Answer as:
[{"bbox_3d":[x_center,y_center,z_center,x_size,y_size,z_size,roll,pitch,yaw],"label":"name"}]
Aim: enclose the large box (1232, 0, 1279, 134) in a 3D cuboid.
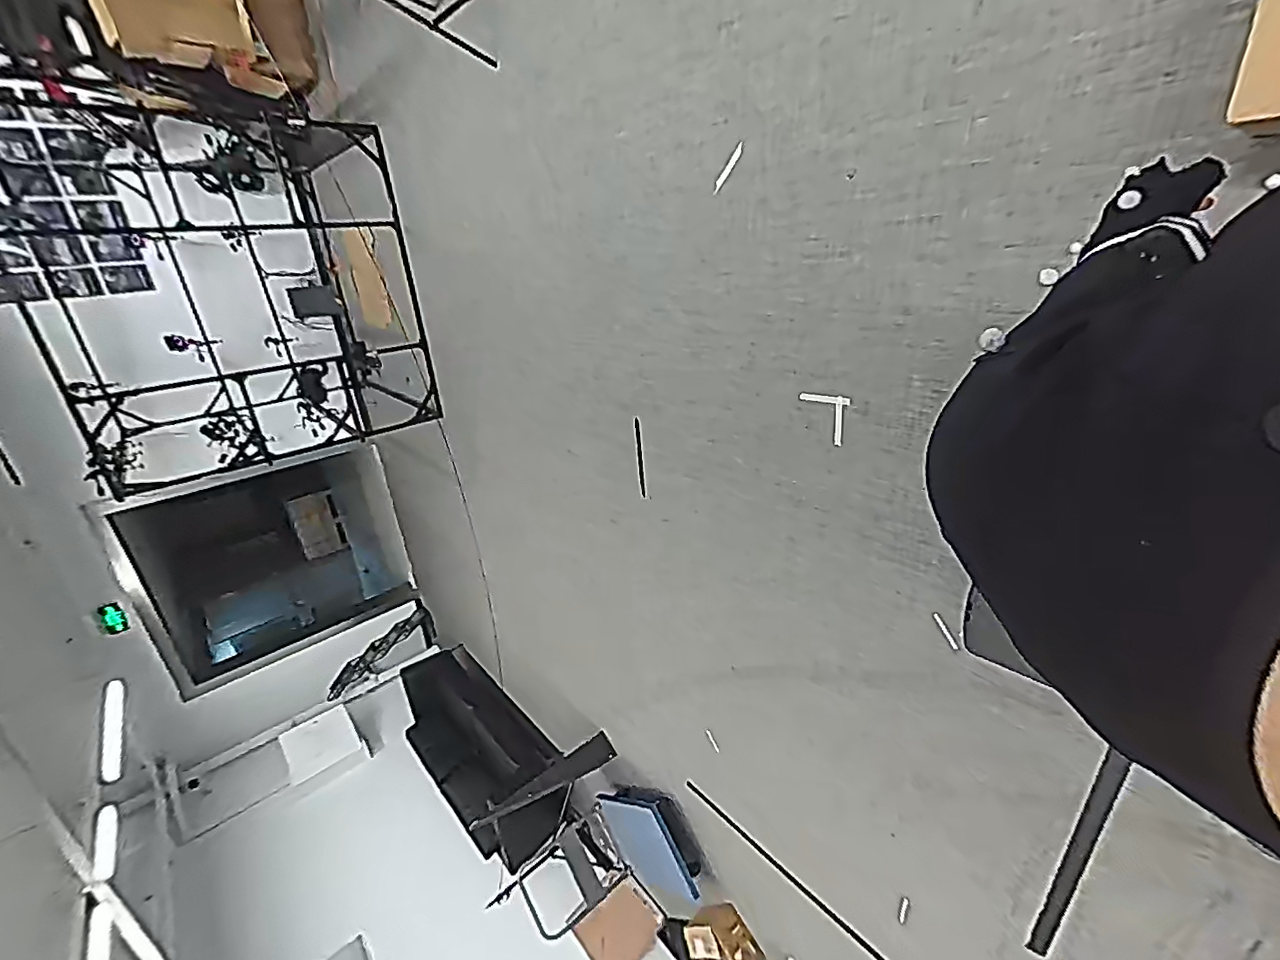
[{"bbox_3d":[1.045,-0.642,0.642,0.408,0.320,0.320,20,123,45],"label":"large box"}]
